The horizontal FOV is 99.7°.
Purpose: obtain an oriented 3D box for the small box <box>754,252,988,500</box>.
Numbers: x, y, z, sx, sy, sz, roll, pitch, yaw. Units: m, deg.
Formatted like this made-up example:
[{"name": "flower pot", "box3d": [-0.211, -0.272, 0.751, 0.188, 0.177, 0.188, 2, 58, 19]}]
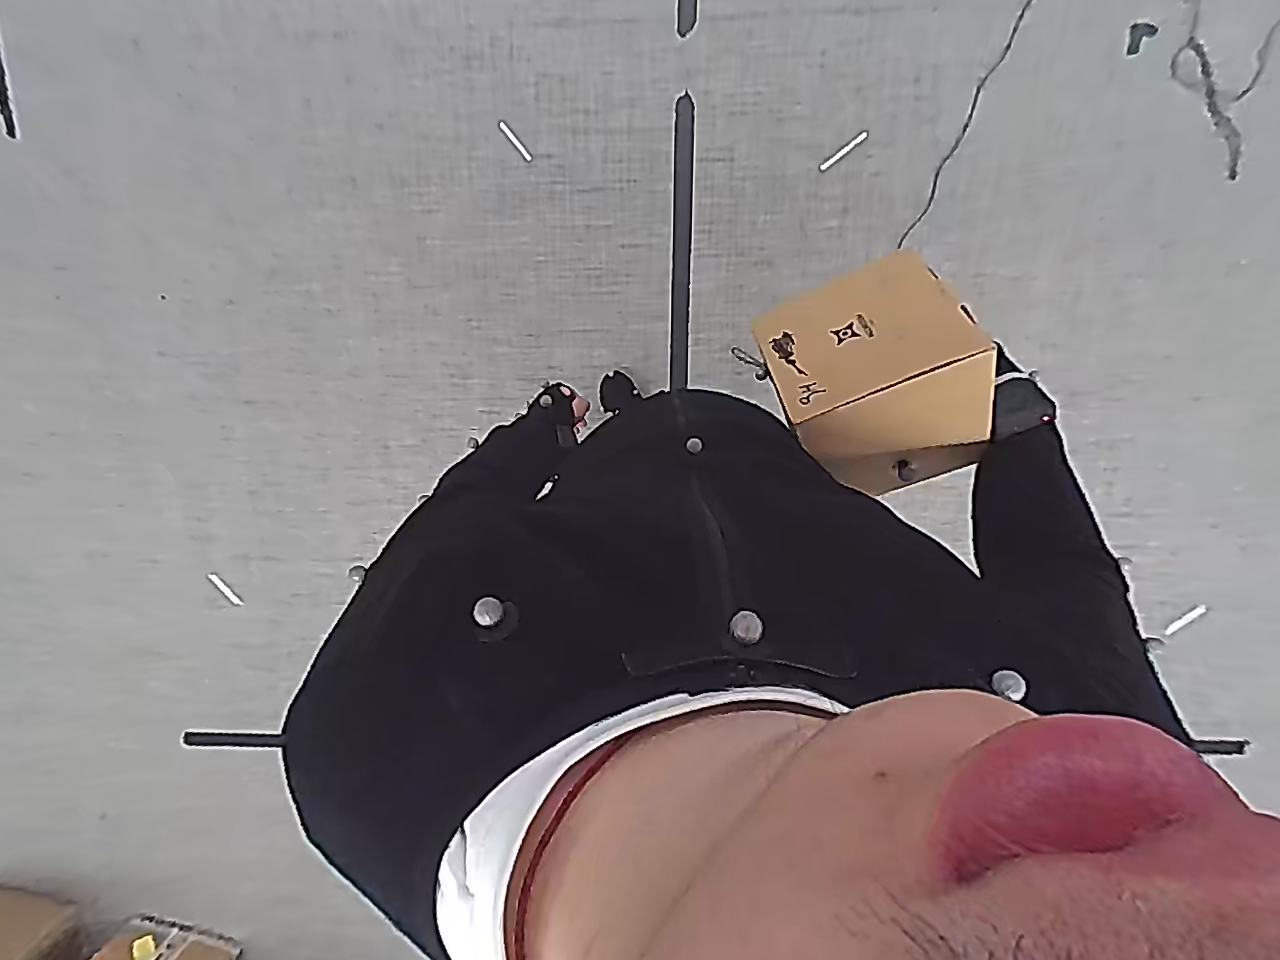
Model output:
[{"name": "small box", "box3d": [0.247, -0.105, 0.595, 0.179, 0.168, 0.176, -21, 139, 15]}]
